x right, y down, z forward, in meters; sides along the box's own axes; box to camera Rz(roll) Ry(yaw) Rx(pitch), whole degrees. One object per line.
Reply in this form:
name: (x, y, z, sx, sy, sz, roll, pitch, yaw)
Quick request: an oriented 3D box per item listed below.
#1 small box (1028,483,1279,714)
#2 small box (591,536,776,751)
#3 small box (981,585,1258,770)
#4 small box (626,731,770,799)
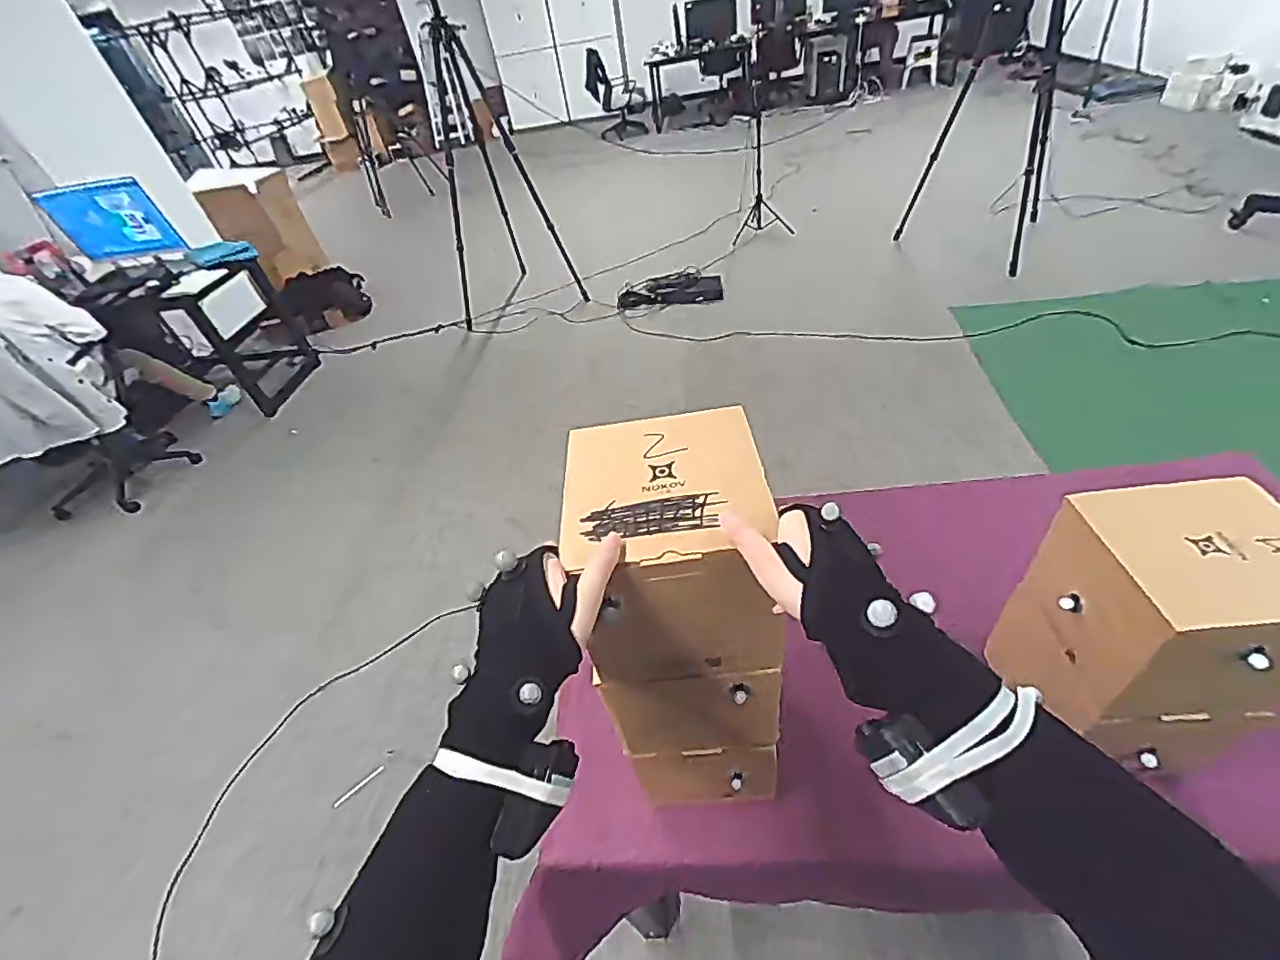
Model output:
small box: (0.540, 0.126, 0.557, 0.179, 0.176, 0.168, -6, 43, 6)
small box: (0.049, 0.186, 0.607, 0.179, 0.176, 0.168, -7, 42, 3)
small box: (0.562, 0.245, 0.670, 0.168, 0.176, 0.179, -5, 43, 7)
small box: (0.077, 0.304, 0.714, 0.168, 0.176, 0.179, -6, 42, 5)
